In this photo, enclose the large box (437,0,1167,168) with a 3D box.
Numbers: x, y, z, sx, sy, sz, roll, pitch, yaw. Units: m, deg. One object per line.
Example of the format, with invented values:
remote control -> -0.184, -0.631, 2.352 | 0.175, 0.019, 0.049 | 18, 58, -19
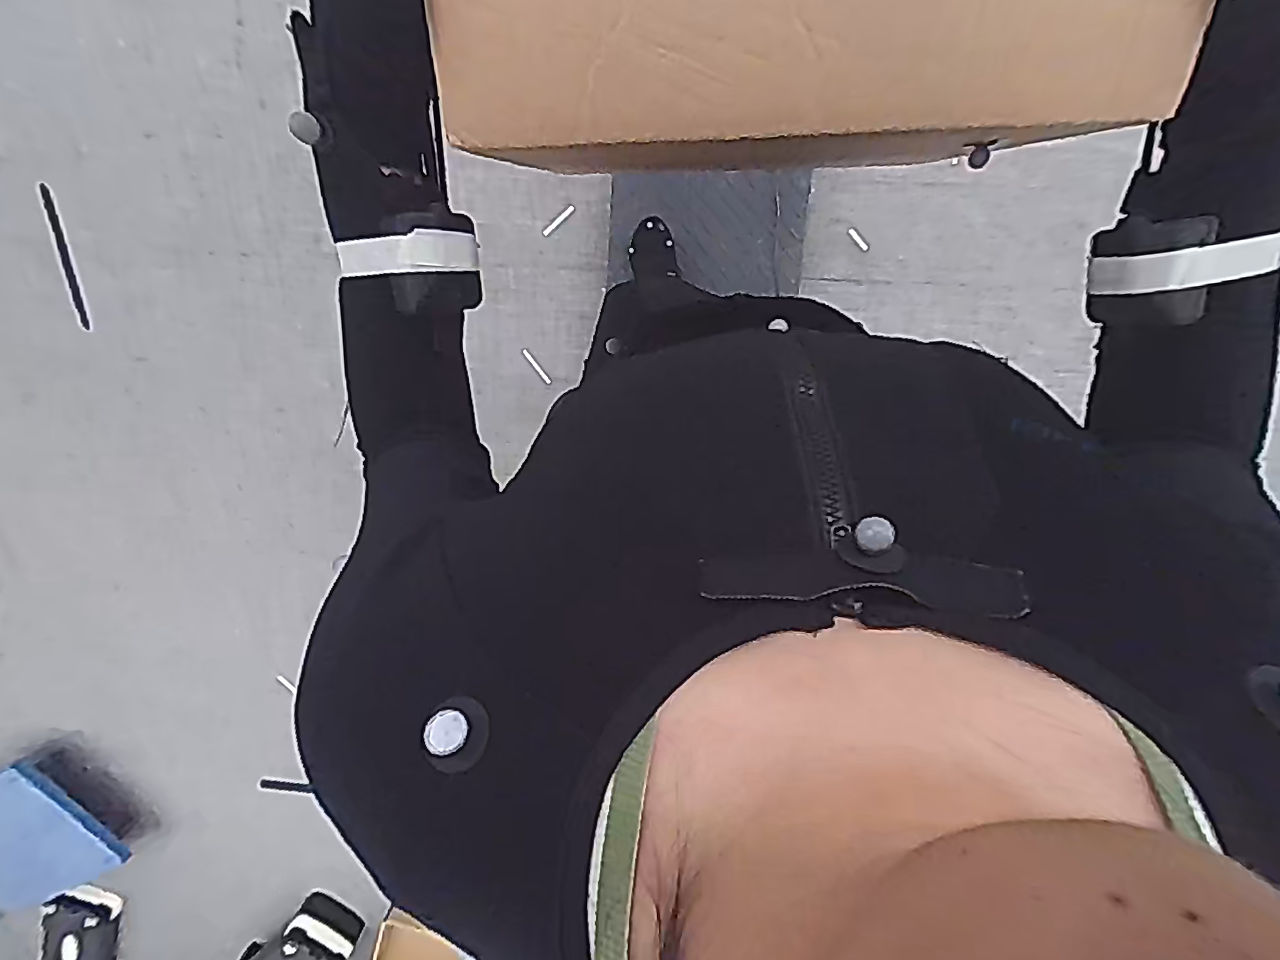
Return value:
large box -> 0.089, -0.413, 0.385 | 0.408, 0.320, 0.320 | 0, 117, 4
